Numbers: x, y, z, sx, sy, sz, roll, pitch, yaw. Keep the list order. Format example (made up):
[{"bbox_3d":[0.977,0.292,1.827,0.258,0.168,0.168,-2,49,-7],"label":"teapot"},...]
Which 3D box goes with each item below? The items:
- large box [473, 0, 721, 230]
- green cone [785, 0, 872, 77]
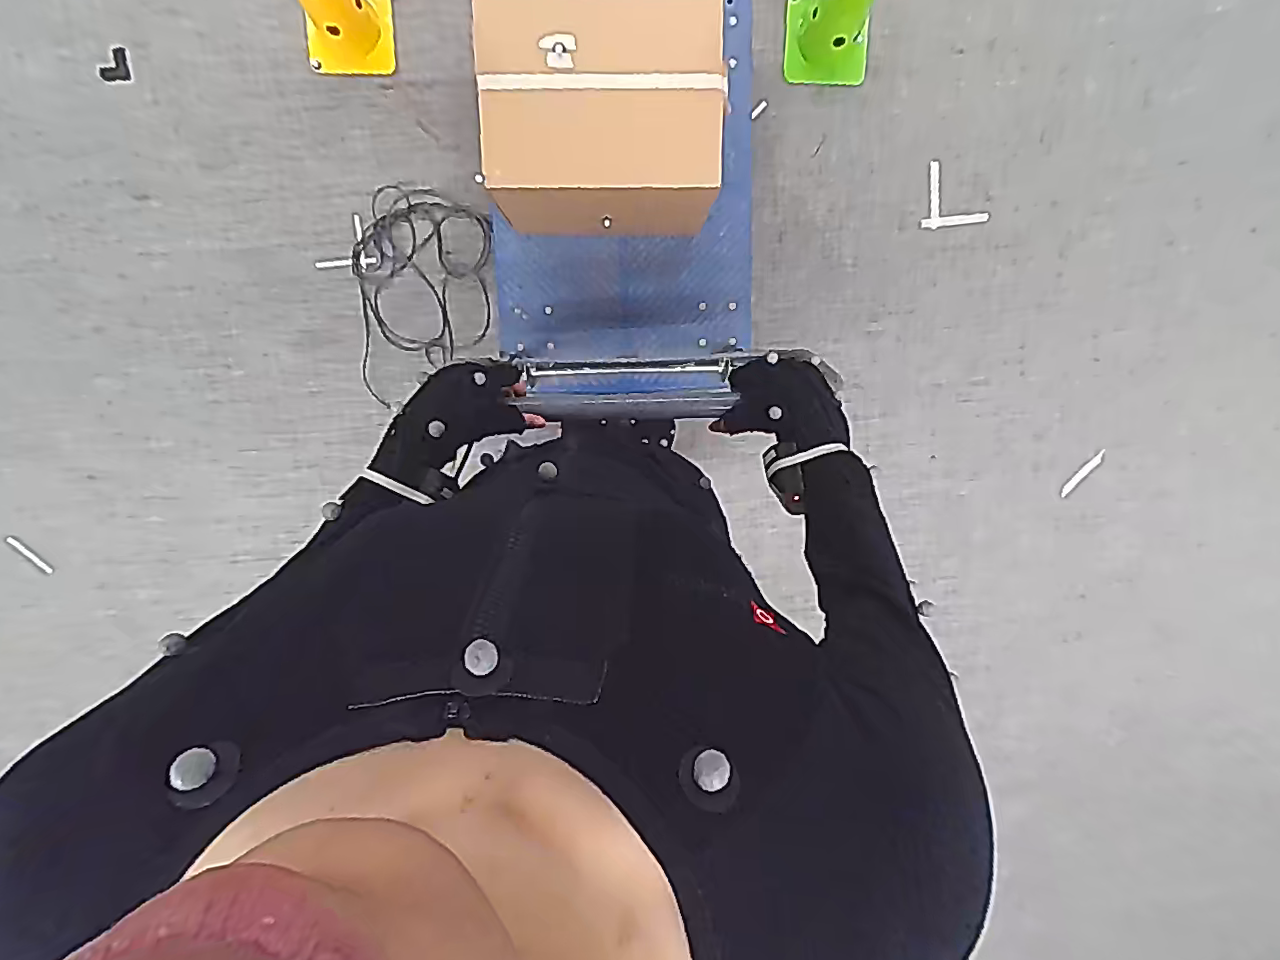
[{"bbox_3d":[-0.066,-0.679,1.034,0.408,0.320,0.320,-1,100,-1],"label":"large box"},{"bbox_3d":[0.459,-1.051,1.128,0.202,0.368,0.200,0,100,-3],"label":"green cone"}]
